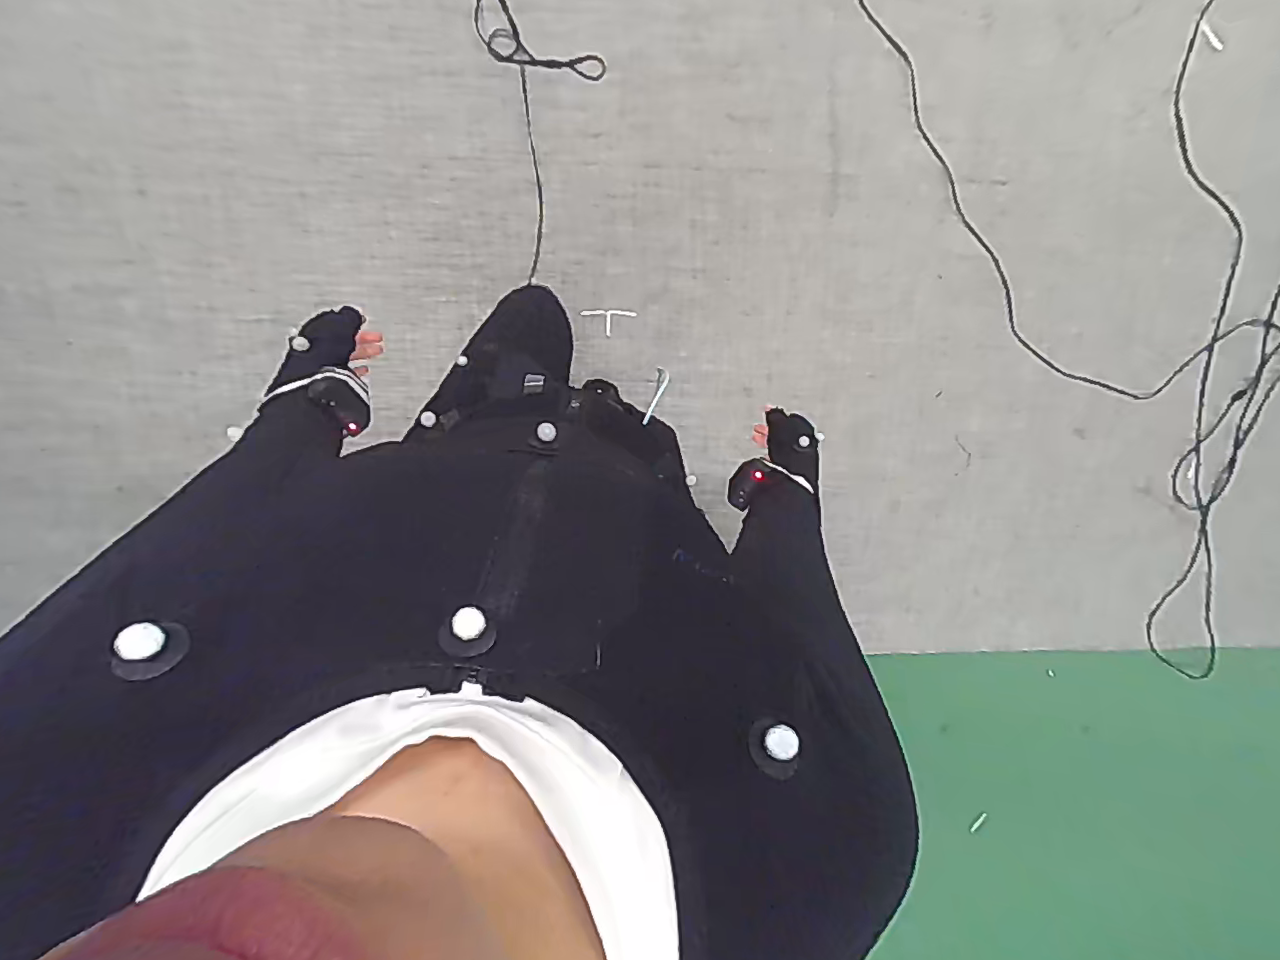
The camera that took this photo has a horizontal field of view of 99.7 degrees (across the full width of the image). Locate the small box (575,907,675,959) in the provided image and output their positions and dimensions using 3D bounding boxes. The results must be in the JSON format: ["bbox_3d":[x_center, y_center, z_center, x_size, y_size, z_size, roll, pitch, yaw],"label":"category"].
[{"bbox_3d":[-0.025,0.863,0.904,0.168,0.176,0.179,-1,105,-2],"label":"small box"}]
